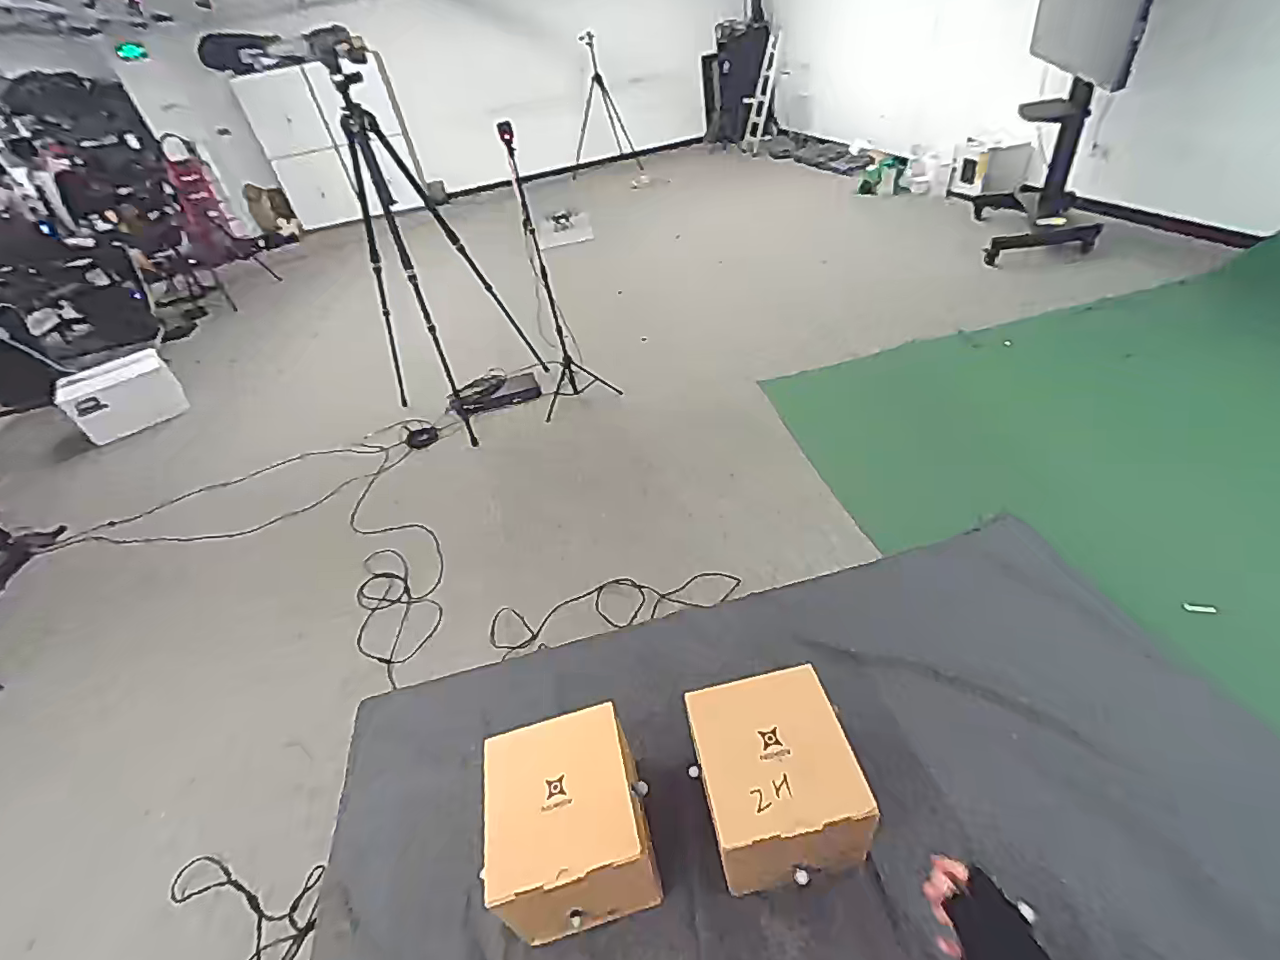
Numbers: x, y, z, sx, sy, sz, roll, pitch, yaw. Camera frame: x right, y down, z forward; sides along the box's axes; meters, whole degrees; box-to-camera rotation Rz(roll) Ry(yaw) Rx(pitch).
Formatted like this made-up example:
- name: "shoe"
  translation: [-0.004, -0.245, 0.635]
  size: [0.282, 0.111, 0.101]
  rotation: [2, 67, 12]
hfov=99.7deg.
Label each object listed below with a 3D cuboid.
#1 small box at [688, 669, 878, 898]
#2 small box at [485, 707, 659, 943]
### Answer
- name: "small box"
  translation: [0.160, 0.366, 0.657]
  size: [0.168, 0.176, 0.179]
  rotation: [-13, 39, -1]
- name: "small box"
  translation: [-0.082, 0.417, 0.659]
  size: [0.168, 0.176, 0.179]
  rotation: [-15, 39, -4]
